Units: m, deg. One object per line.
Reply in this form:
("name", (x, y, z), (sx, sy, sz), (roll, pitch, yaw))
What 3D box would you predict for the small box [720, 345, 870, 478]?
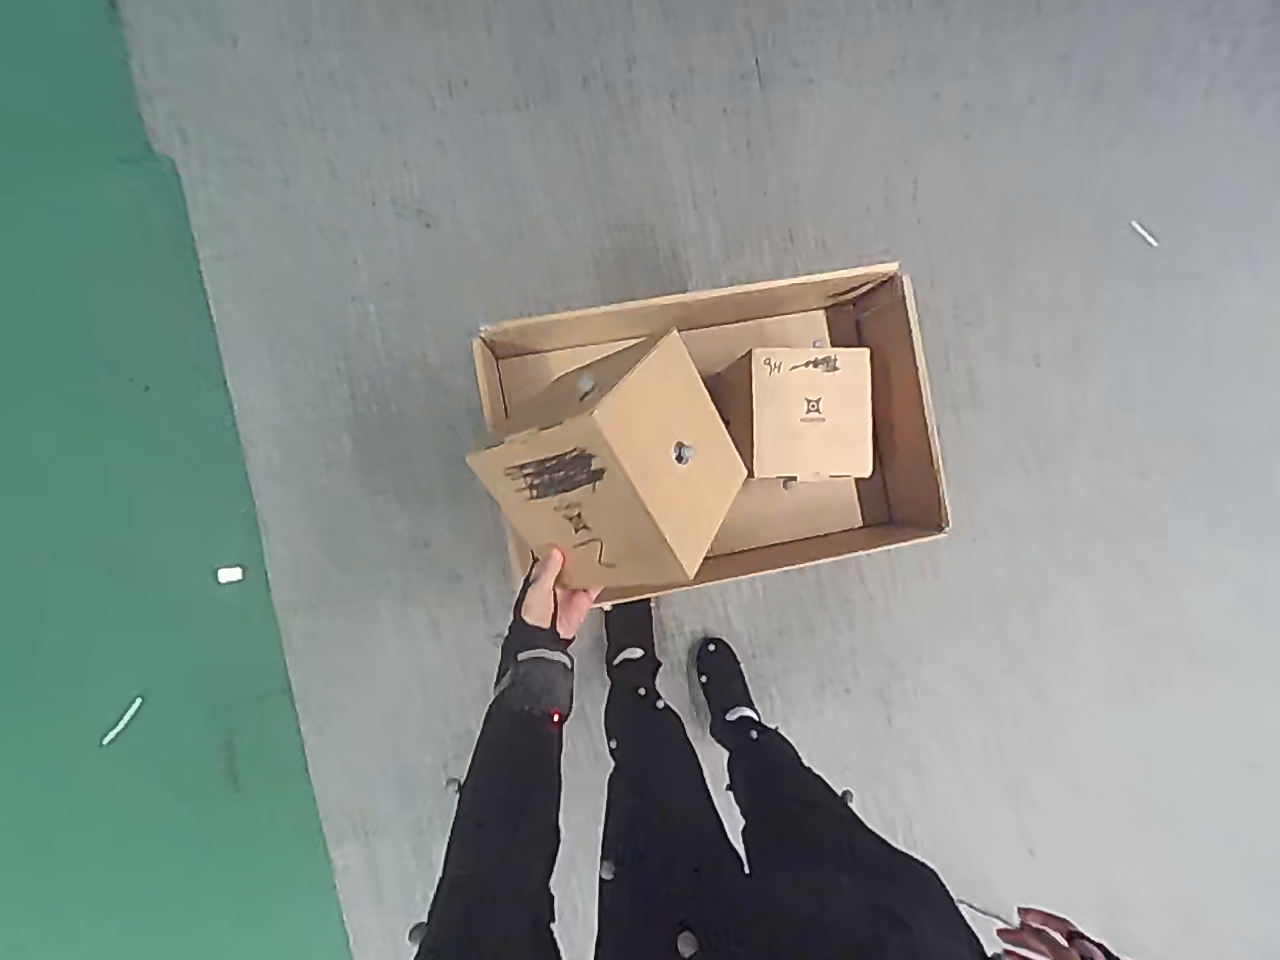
("small box", (0.218, -0.093, 0.796), (0.168, 0.176, 0.179), (0, 91, -6))
